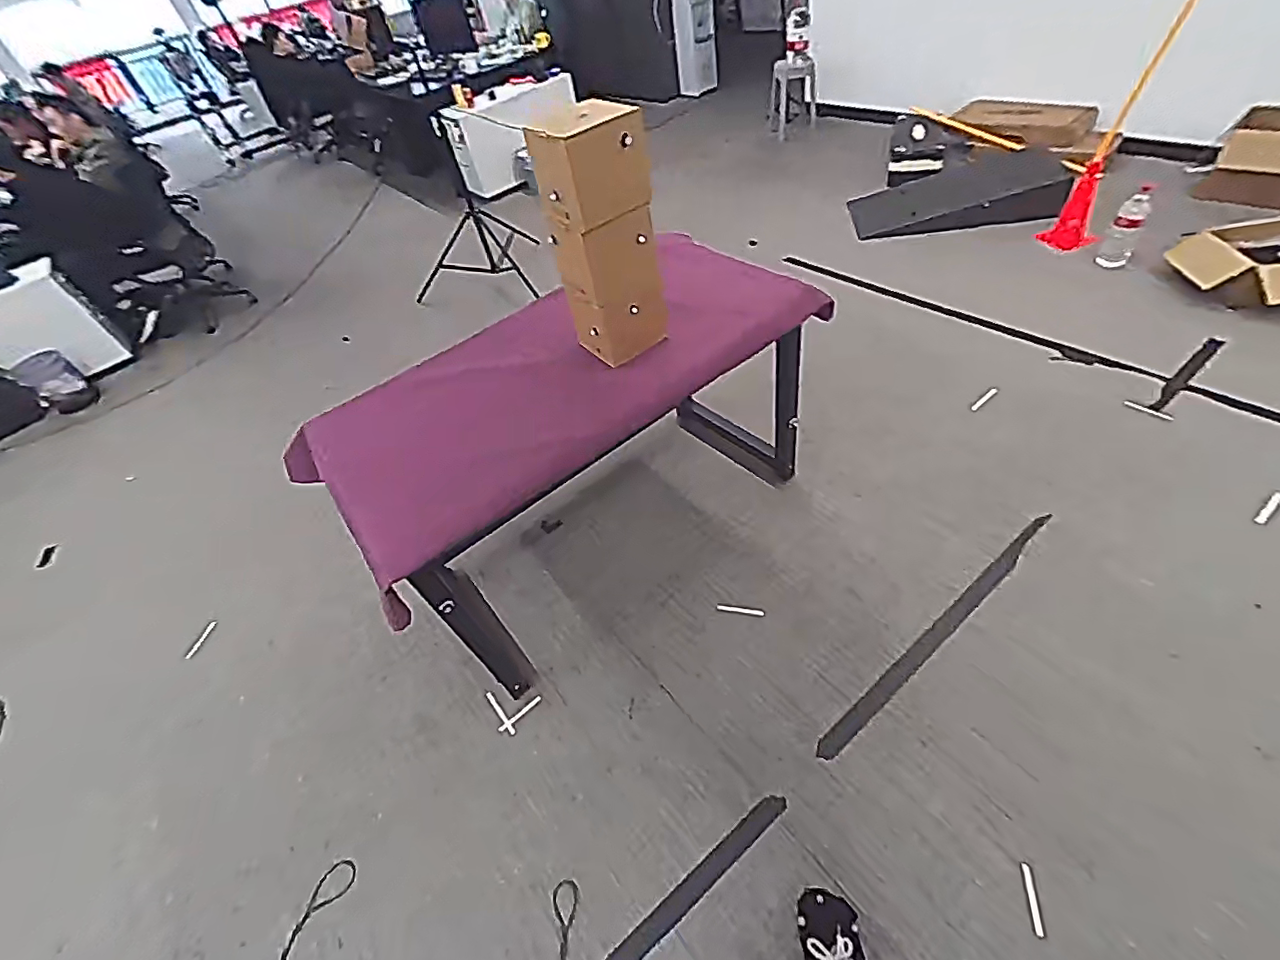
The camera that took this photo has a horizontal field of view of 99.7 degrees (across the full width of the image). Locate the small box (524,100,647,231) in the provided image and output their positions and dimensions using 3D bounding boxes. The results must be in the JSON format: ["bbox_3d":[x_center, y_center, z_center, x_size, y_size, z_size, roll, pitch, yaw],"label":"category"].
[{"bbox_3d":[-0.100,-0.631,1.087,0.179,0.176,0.168,-35,50,-17],"label":"small box"}]

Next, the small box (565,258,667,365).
[{"bbox_3d":[-0.053,-0.410,1.326,0.179,0.176,0.168,-34,50,-18],"label":"small box"}]
